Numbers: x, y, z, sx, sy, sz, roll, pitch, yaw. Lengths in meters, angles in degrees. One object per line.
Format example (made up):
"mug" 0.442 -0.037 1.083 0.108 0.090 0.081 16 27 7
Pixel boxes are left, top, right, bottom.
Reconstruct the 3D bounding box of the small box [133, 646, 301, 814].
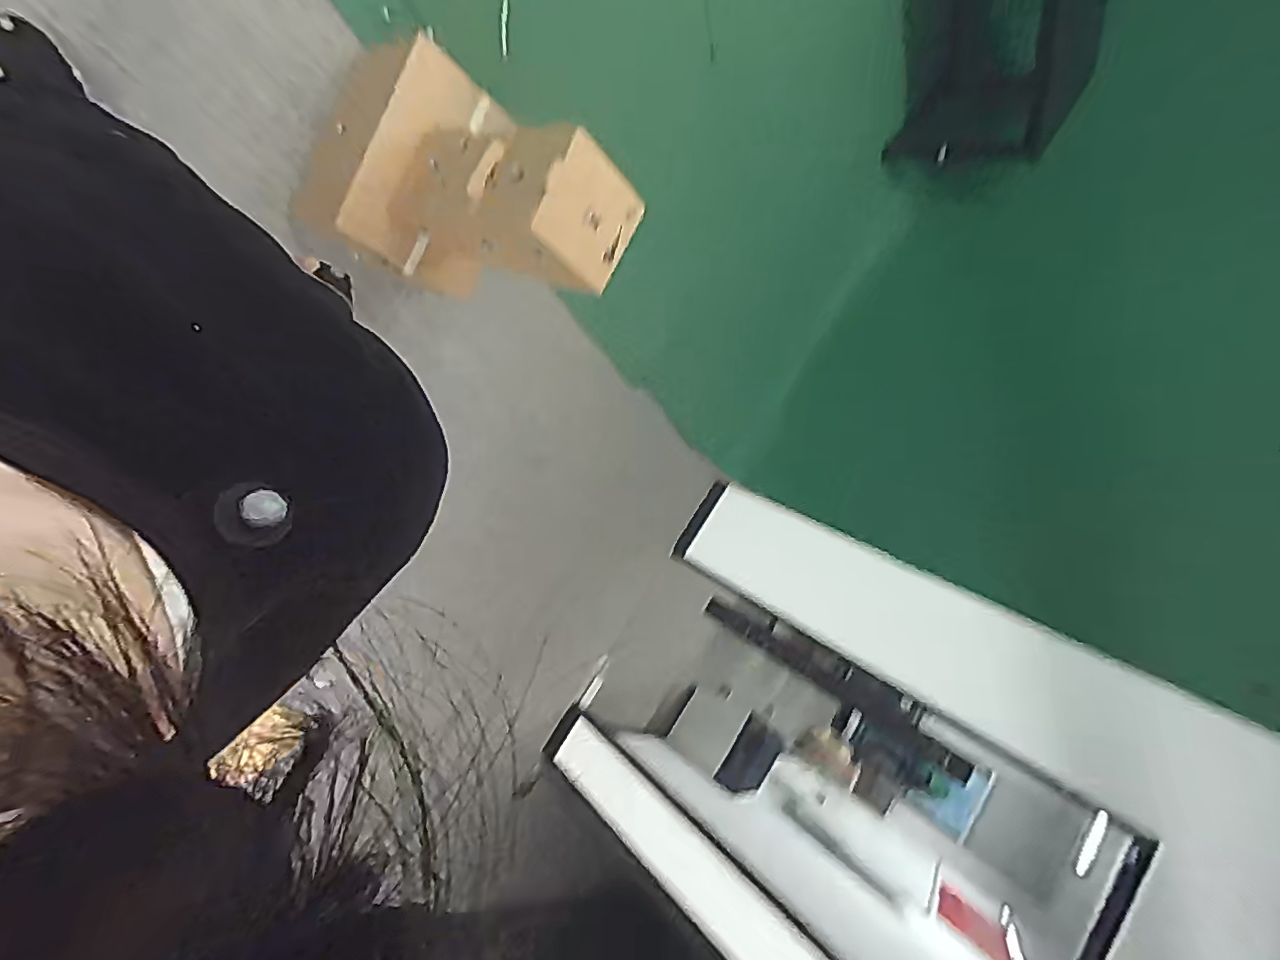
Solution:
"small box" -0.755 0.435 0.968 0.179 0.176 0.168 -31 133 -32

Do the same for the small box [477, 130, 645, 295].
"small box" -0.132 -0.431 0.887 0.179 0.176 0.168 29 89 -50

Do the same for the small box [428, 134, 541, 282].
"small box" -0.250 -0.489 0.987 0.179 0.176 0.168 32 87 -51

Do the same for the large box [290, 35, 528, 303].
"large box" -0.521 -0.675 1.232 0.320 0.320 0.408 23 93 -53

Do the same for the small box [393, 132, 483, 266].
"small box" -0.361 -0.560 1.084 0.168 0.176 0.179 29 90 -51
